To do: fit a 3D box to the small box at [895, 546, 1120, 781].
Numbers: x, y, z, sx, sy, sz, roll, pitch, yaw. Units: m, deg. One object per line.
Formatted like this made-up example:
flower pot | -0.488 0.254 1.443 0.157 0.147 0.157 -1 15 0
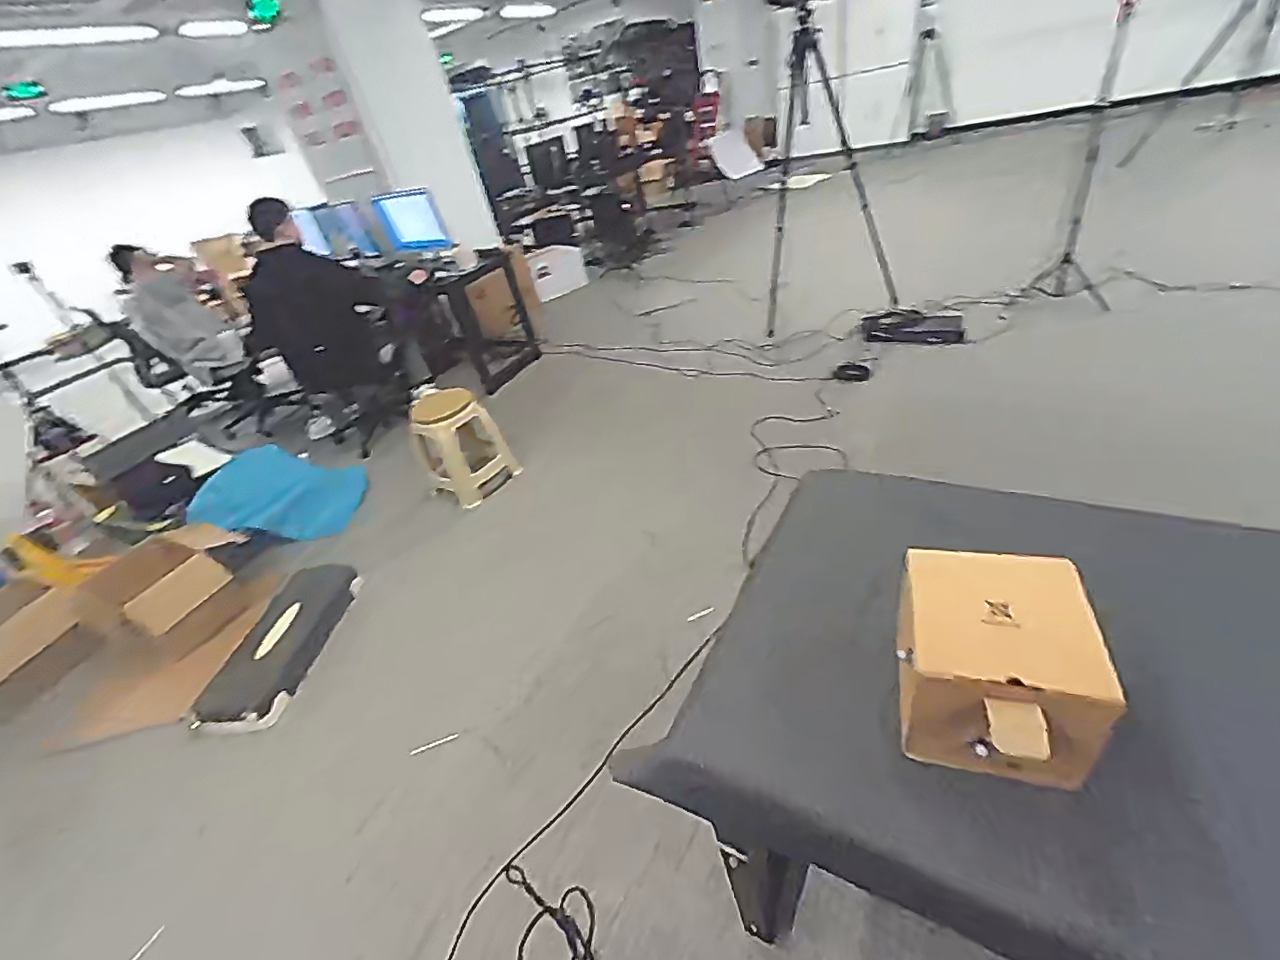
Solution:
small box | 0.390 0.201 0.614 0.168 0.176 0.179 2 39 21
